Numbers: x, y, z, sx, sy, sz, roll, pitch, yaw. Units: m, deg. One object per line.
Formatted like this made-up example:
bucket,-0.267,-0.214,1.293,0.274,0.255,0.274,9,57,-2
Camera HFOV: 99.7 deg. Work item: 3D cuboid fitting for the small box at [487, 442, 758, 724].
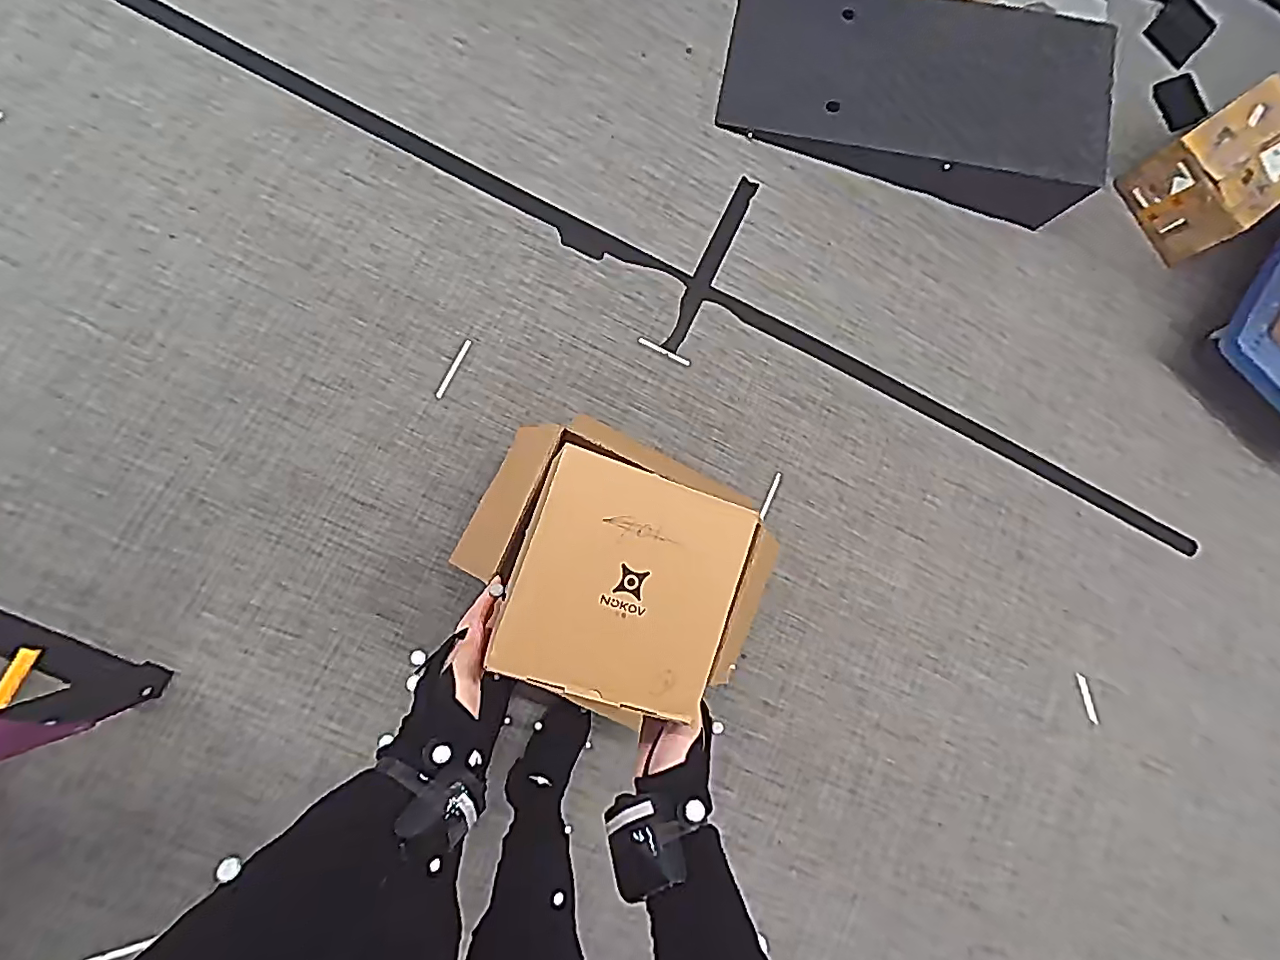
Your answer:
small box,-0.023,0.082,0.487,0.168,0.176,0.179,21,84,-11
